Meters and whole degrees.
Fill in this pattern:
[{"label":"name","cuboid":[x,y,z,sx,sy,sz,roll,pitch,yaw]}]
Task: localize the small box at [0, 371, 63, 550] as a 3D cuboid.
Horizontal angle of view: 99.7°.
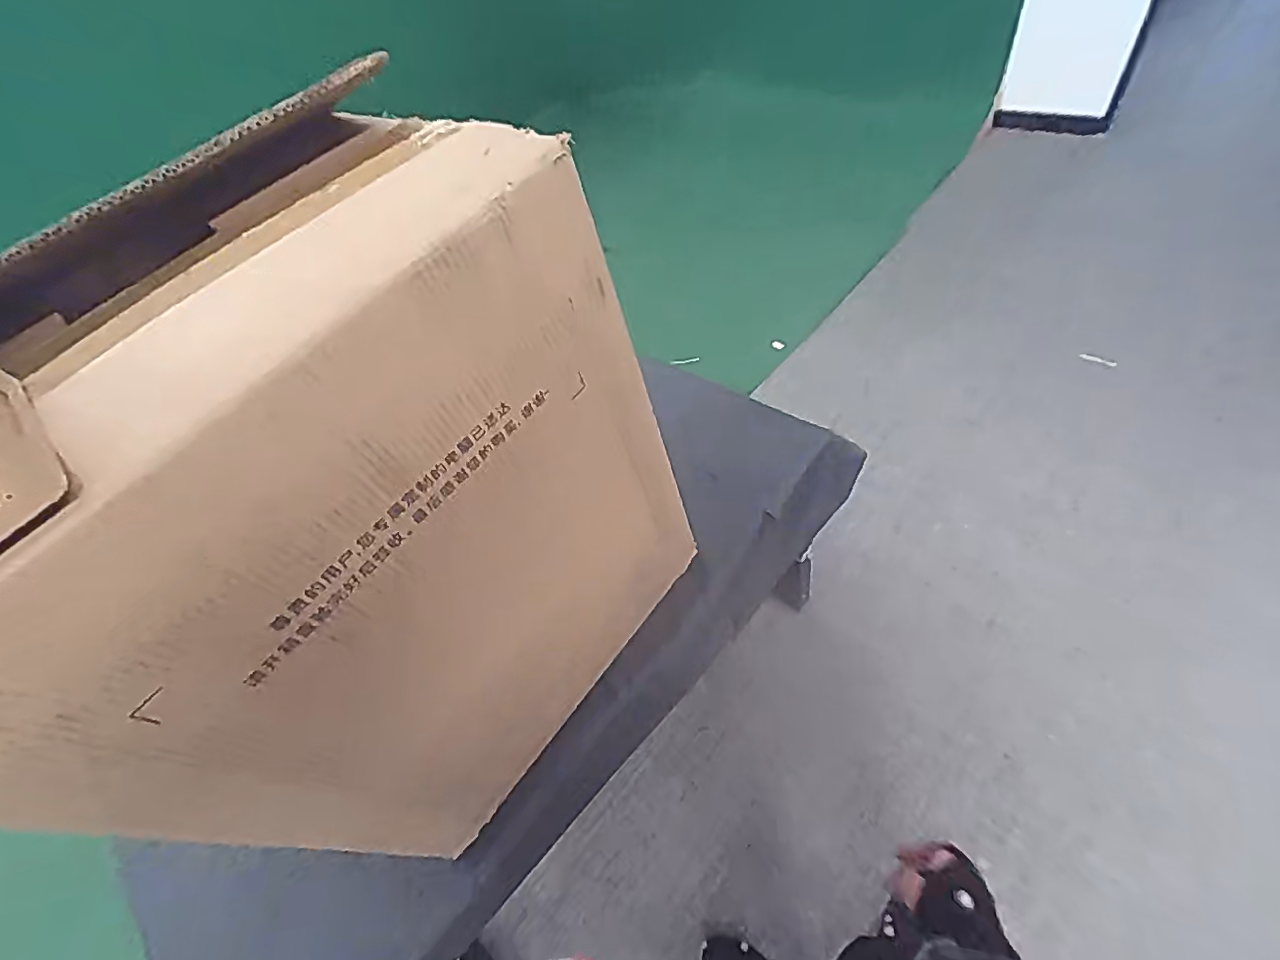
[{"label":"small box","cuboid":[-0.402,-0.009,0.207,0.168,0.176,0.179,31,70,30]}]
